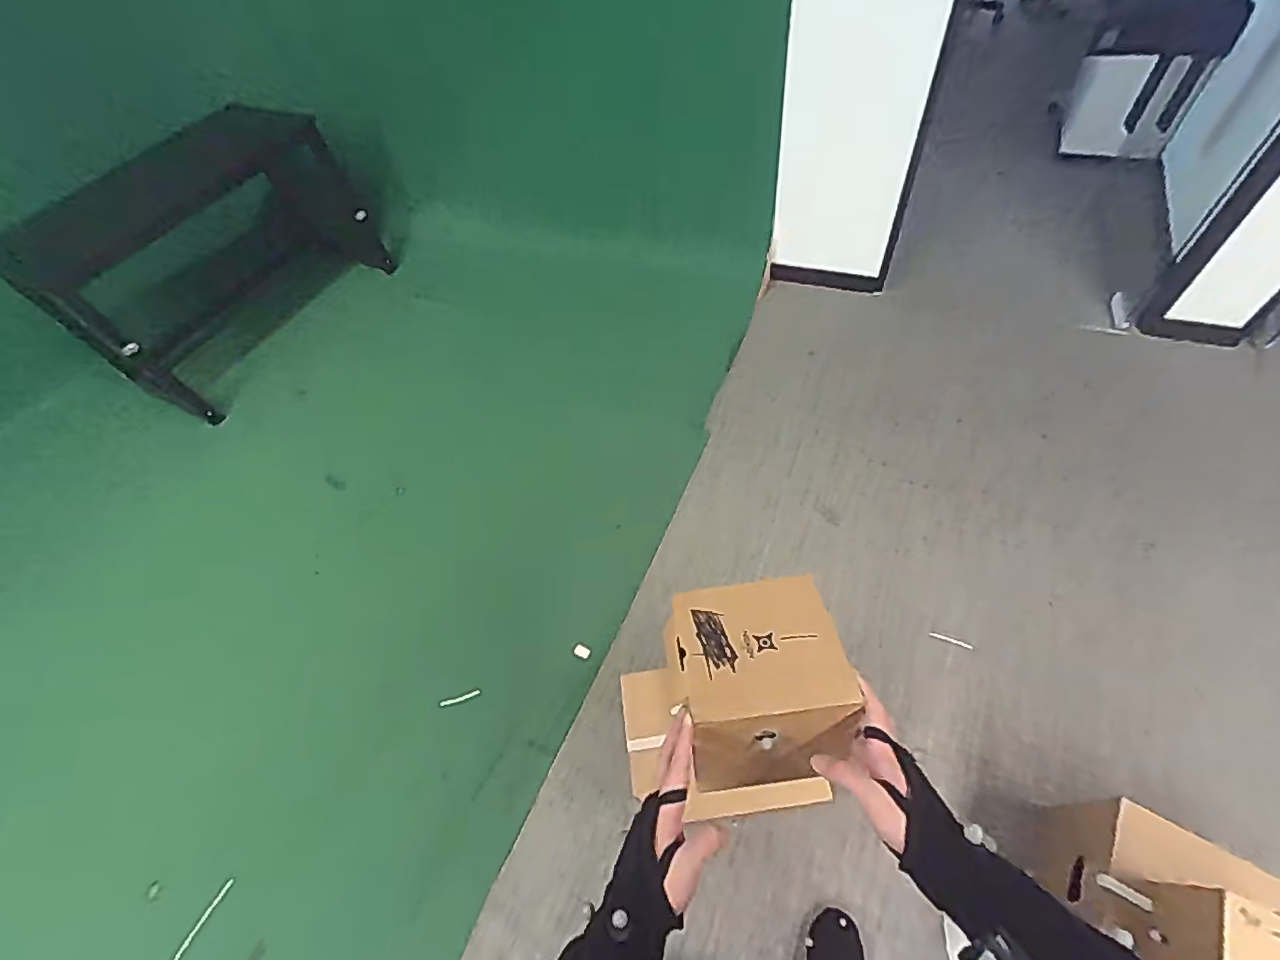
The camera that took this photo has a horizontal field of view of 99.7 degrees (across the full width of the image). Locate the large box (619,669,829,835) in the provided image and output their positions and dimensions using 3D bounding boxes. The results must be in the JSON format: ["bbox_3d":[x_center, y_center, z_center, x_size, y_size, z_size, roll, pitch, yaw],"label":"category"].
[{"bbox_3d":[0.186,0.634,1.290,0.408,0.320,0.320,-11,54,2],"label":"large box"}]

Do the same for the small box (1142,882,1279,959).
[{"bbox_3d":[0.902,0.746,0.808,0.168,0.176,0.179,23,64,22],"label":"small box"}]

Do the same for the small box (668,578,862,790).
[{"bbox_3d":[0.134,0.241,0.637,0.179,0.176,0.168,-7,40,-2],"label":"small box"}]
